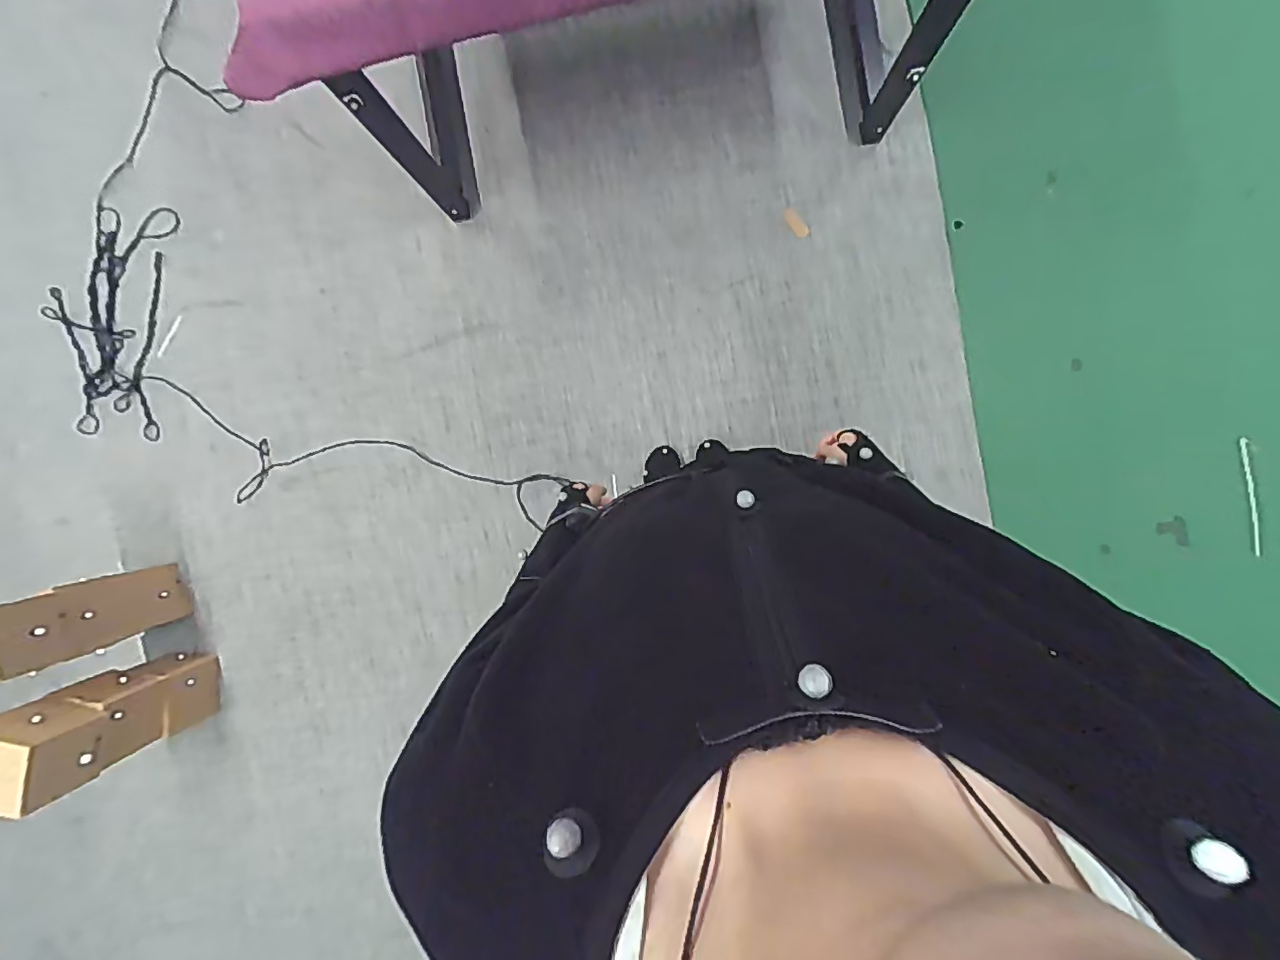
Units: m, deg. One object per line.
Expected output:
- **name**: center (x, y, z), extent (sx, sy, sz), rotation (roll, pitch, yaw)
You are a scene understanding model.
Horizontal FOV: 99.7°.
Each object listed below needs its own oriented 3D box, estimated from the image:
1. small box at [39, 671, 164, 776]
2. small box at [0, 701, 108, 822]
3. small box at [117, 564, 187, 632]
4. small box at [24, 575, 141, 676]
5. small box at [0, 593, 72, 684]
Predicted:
- **small box**: center (-1.375, 0.616, 1.385), extent (0.168, 0.176, 0.179), rotation (7, 92, 4)
- **small box**: center (-1.378, 0.623, 1.221), extent (0.179, 0.176, 0.168), rotation (12, 92, 3)
- **small box**: center (-1.443, 0.351, 1.538), extent (0.179, 0.176, 0.168), rotation (-18, 91, 4)
- **small box**: center (-1.439, 0.362, 1.376), extent (0.168, 0.176, 0.179), rotation (-22, 91, 3)
- **small box**: center (-1.444, 0.365, 1.213), extent (0.179, 0.176, 0.168), rotation (-14, 92, 2)
